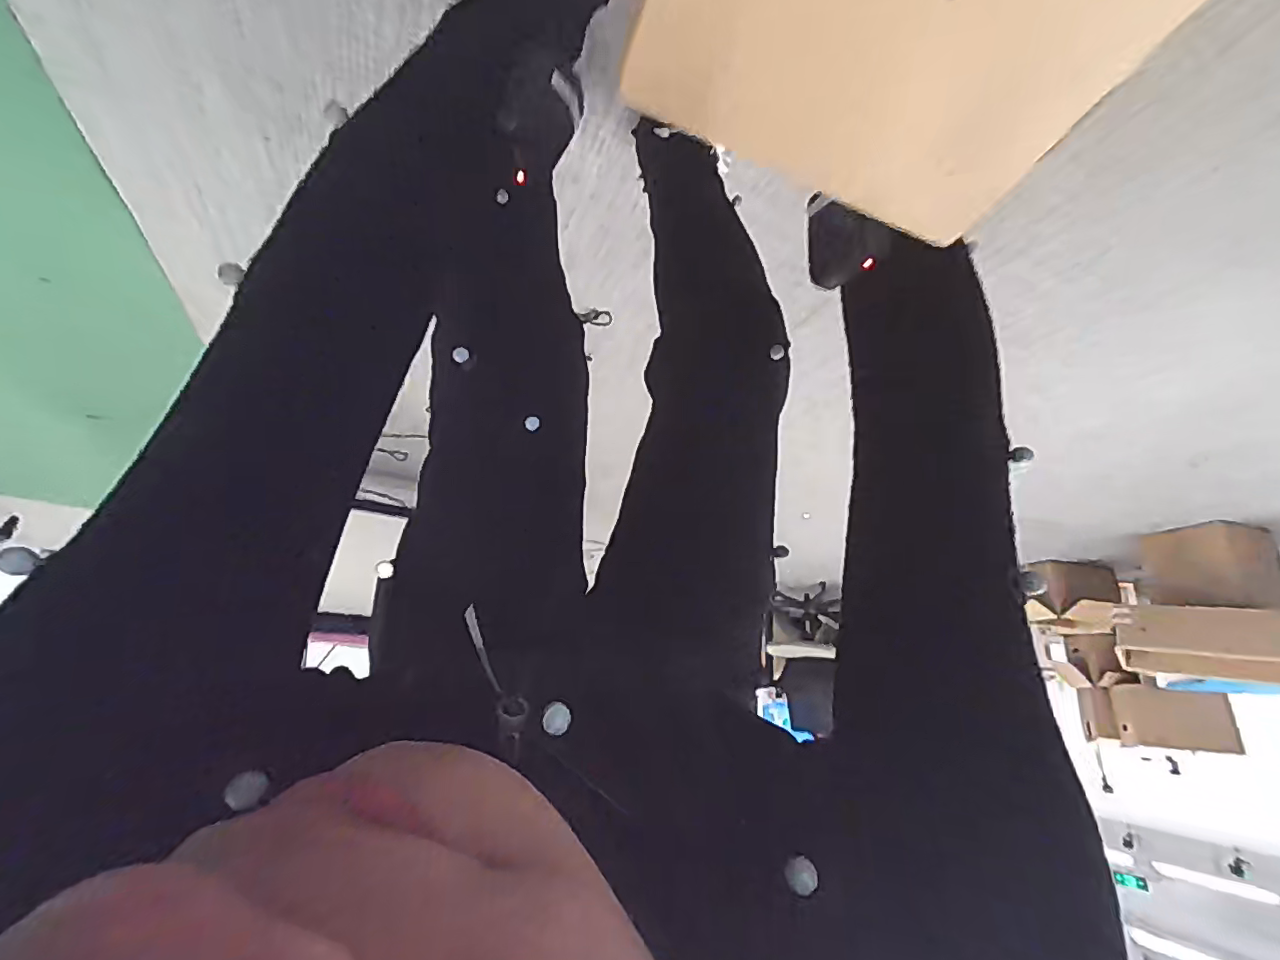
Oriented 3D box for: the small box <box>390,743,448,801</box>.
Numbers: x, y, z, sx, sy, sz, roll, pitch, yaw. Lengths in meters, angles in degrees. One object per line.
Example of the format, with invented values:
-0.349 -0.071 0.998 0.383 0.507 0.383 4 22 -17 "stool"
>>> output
-0.802 1.051 1.962 0.168 0.176 0.179 13 158 -20 "small box"
